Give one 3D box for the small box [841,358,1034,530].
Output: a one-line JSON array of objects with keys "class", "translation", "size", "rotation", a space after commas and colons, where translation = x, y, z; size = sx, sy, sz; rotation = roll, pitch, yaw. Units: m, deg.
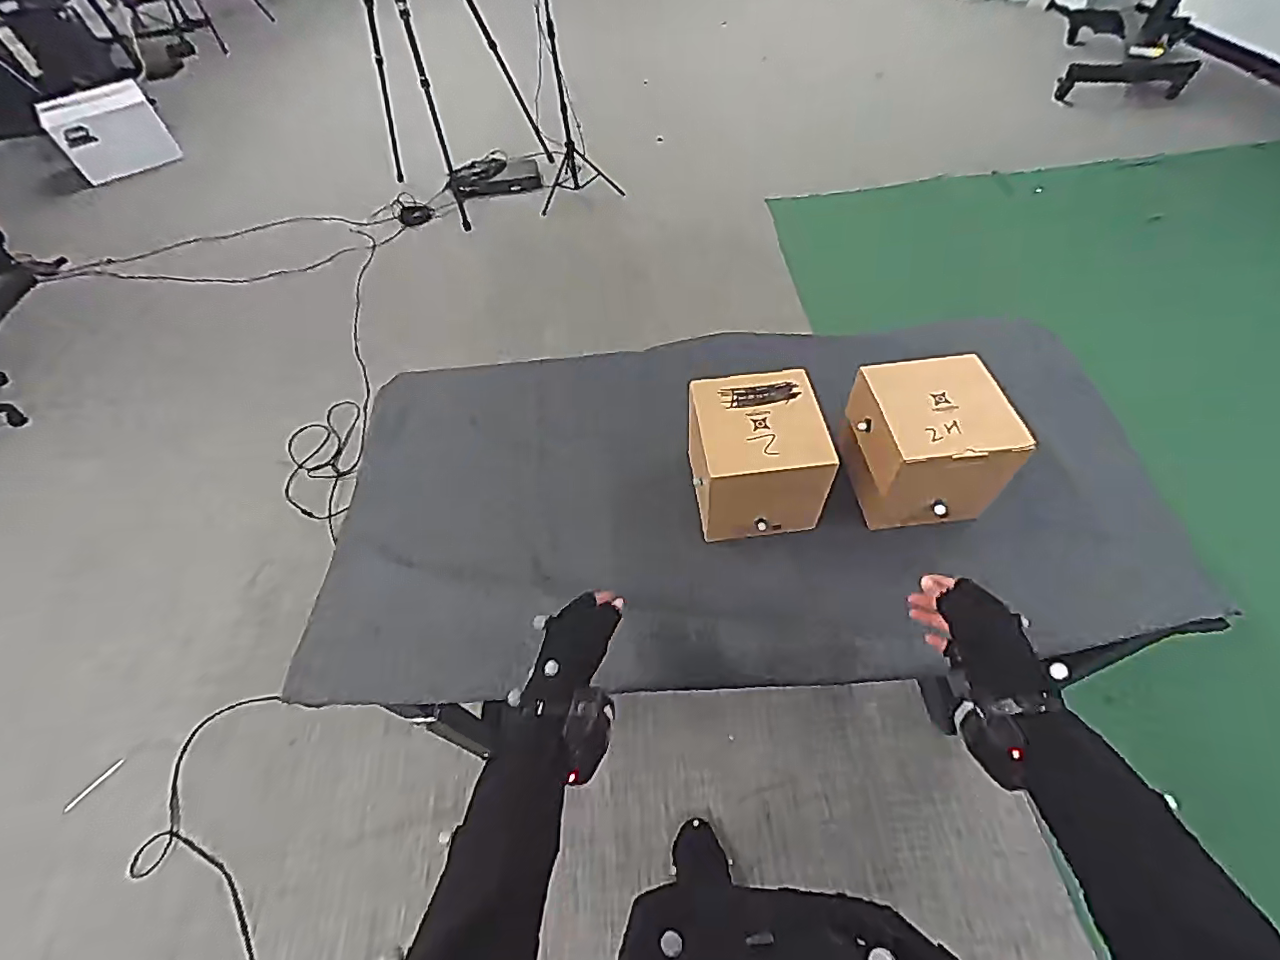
[{"class": "small box", "translation": [0.407, -0.050, 0.782], "size": [0.168, 0.176, 0.179], "rotation": [-7, 53, 2]}]
